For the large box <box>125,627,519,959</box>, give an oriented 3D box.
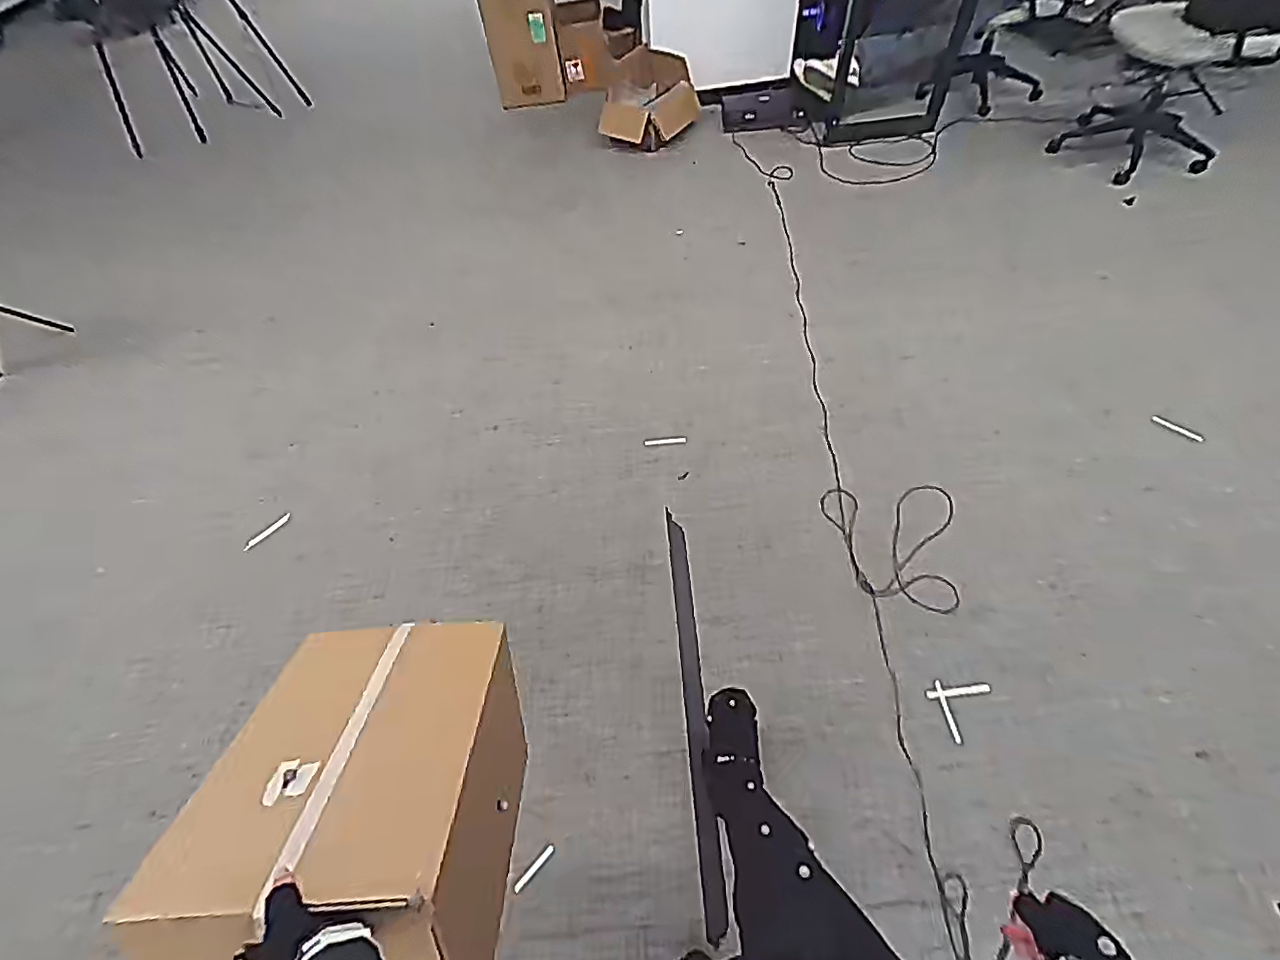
[{"bbox_3d":[-0.367,0.471,0.778,0.320,0.320,0.408,-4,27,-2],"label":"large box"}]
